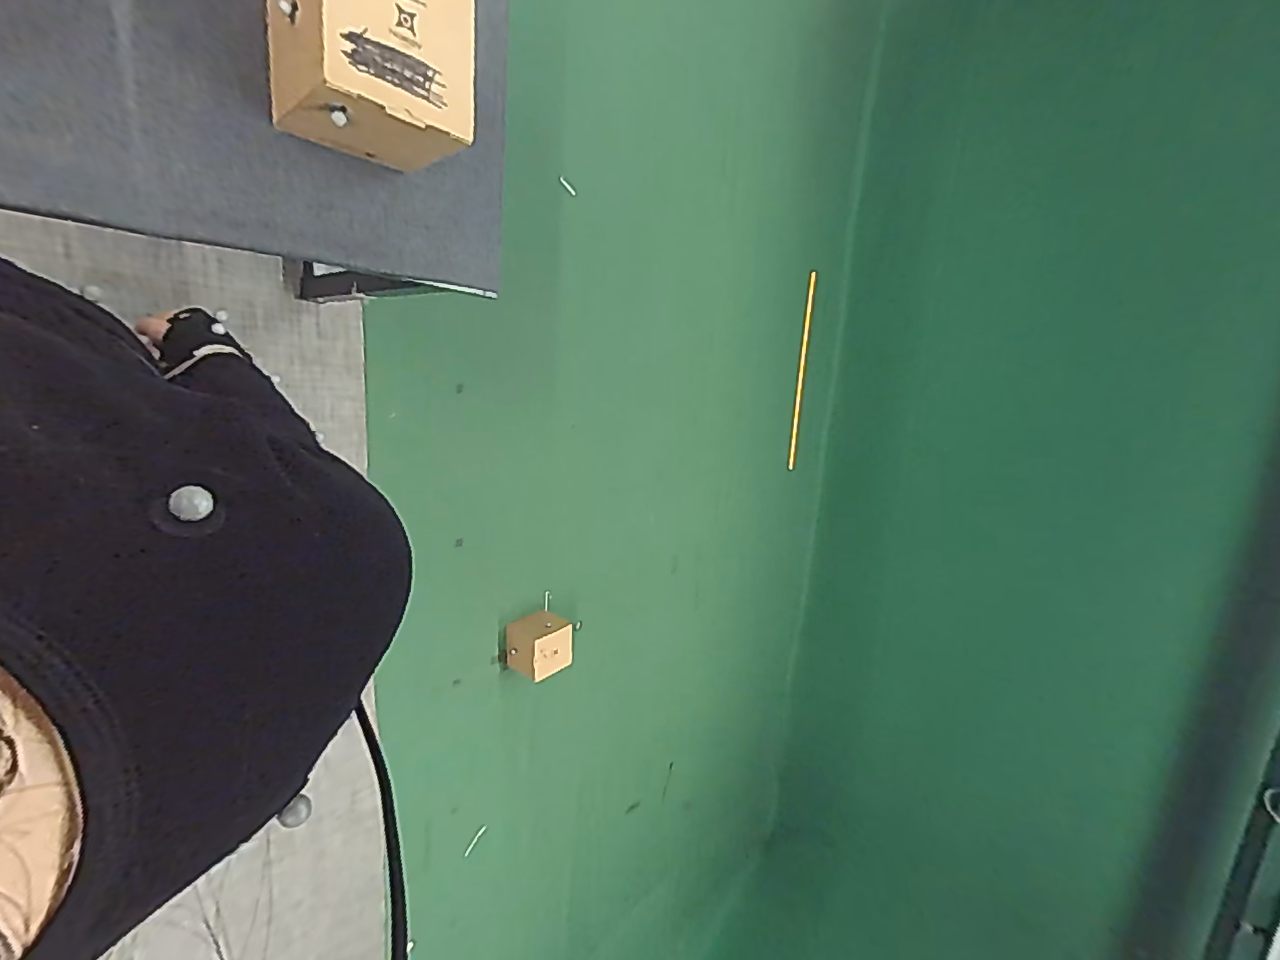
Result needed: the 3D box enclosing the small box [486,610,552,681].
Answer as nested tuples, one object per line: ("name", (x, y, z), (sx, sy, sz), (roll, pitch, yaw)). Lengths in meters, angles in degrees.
("small box", (-0.445, 0.601, 1.989), (0.179, 0.176, 0.168), (-13, 110, -49))
